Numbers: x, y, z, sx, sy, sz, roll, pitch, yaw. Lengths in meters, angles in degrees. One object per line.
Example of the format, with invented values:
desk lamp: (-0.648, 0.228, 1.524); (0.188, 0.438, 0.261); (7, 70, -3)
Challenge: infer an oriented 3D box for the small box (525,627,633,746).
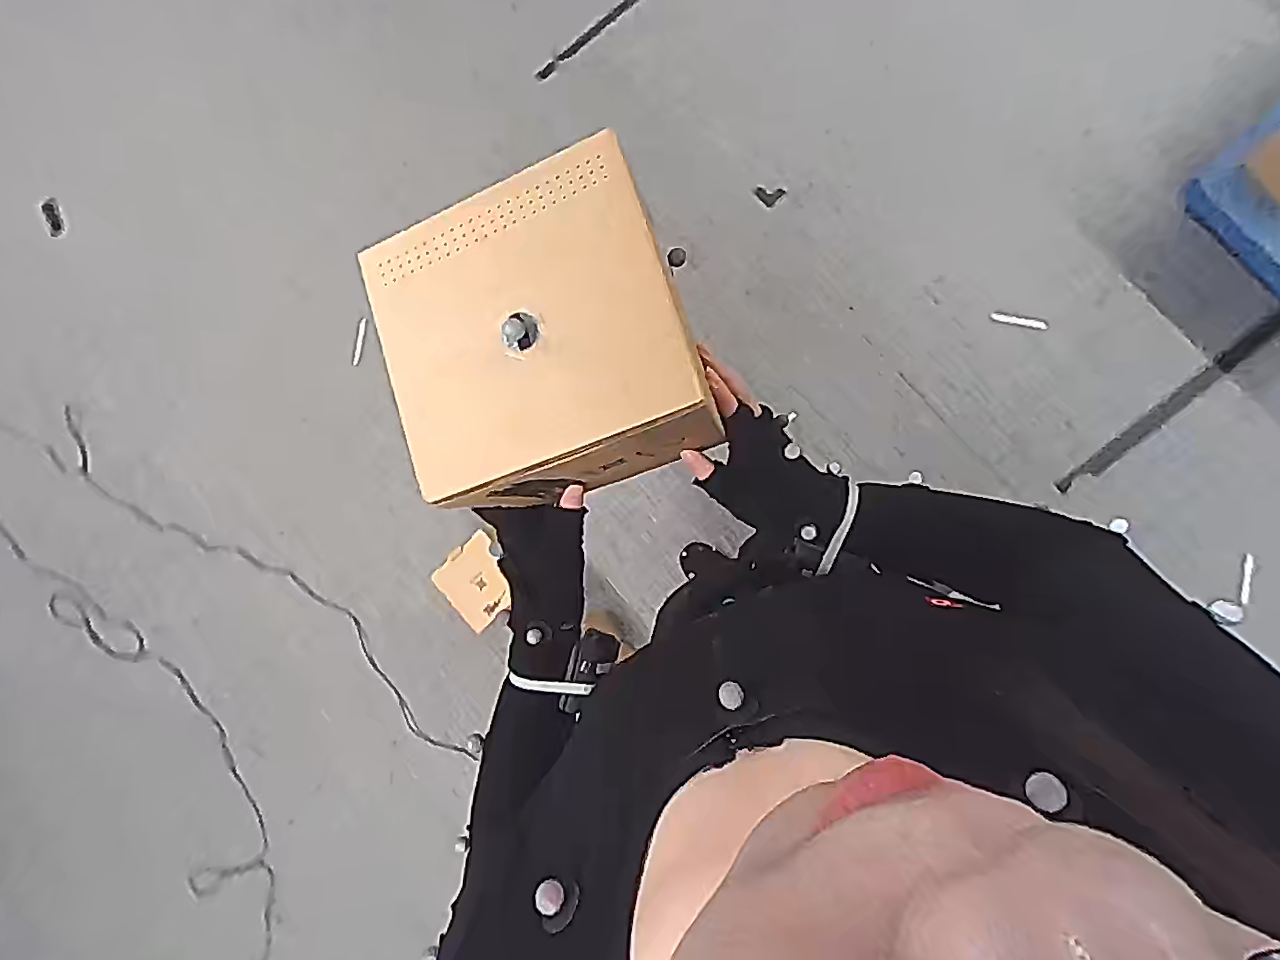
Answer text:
small box: (-0.133, 0.475, 1.276); (0.168, 0.176, 0.179); (-43, 85, 3)

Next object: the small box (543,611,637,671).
small box: (-0.124, 0.476, 1.438); (0.179, 0.176, 0.168); (-39, 85, 2)

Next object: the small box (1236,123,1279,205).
small box: (1.466, -0.720, 1.148); (0.168, 0.176, 0.179); (-36, 84, 2)

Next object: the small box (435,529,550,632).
small box: (-0.348, 0.234, 1.303); (0.168, 0.176, 0.179); (-43, 84, 3)
